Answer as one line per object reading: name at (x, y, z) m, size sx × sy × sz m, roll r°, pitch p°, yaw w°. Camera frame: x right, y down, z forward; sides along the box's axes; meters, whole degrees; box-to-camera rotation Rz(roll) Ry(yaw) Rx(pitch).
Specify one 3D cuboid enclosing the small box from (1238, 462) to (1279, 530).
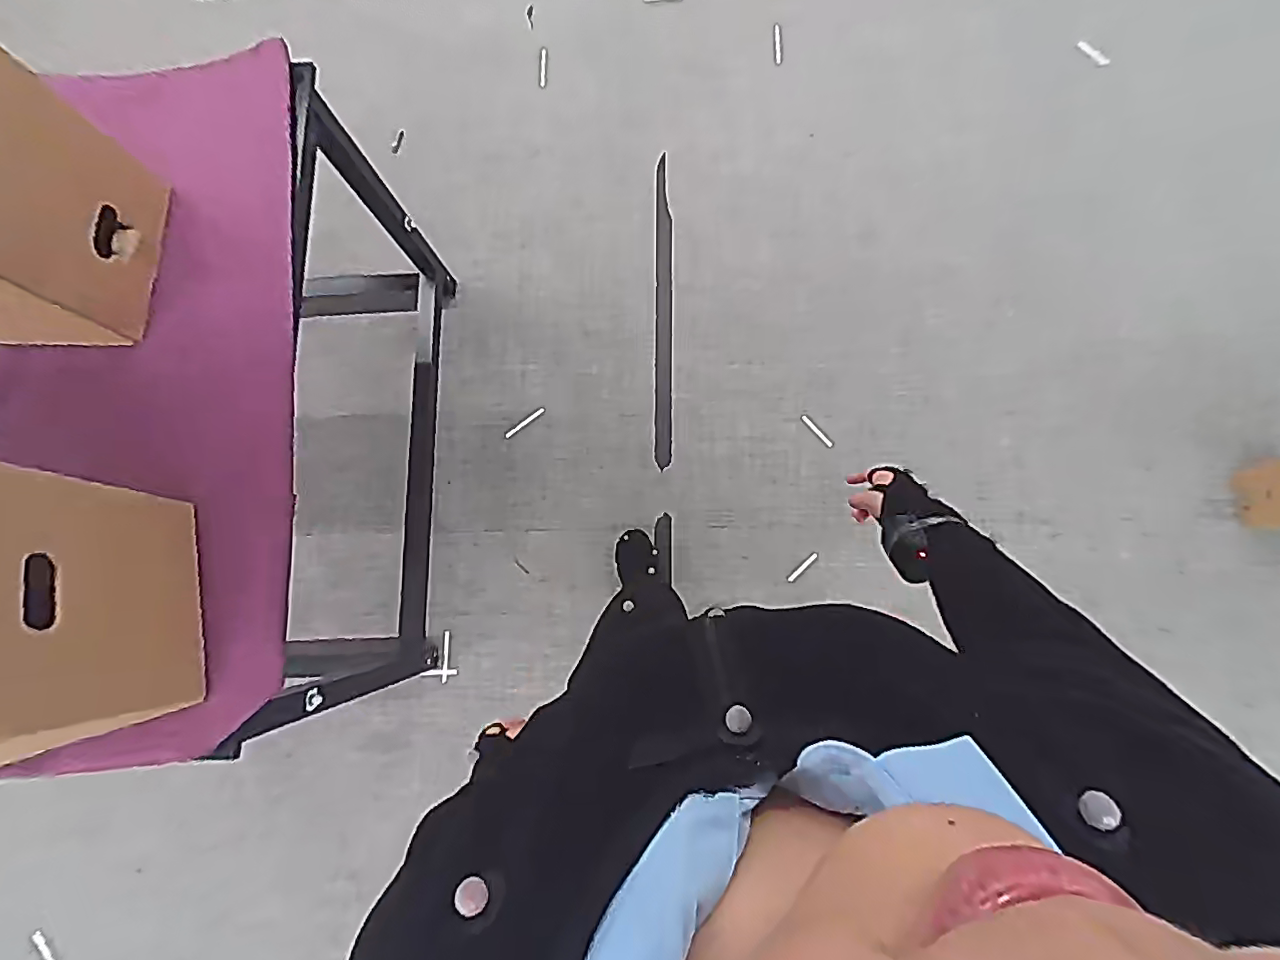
small box at (1.702, 0.037, 1.381) m, size 0.179 × 0.176 × 0.168 m, roll -3°, pitch 79°, yaw 2°
